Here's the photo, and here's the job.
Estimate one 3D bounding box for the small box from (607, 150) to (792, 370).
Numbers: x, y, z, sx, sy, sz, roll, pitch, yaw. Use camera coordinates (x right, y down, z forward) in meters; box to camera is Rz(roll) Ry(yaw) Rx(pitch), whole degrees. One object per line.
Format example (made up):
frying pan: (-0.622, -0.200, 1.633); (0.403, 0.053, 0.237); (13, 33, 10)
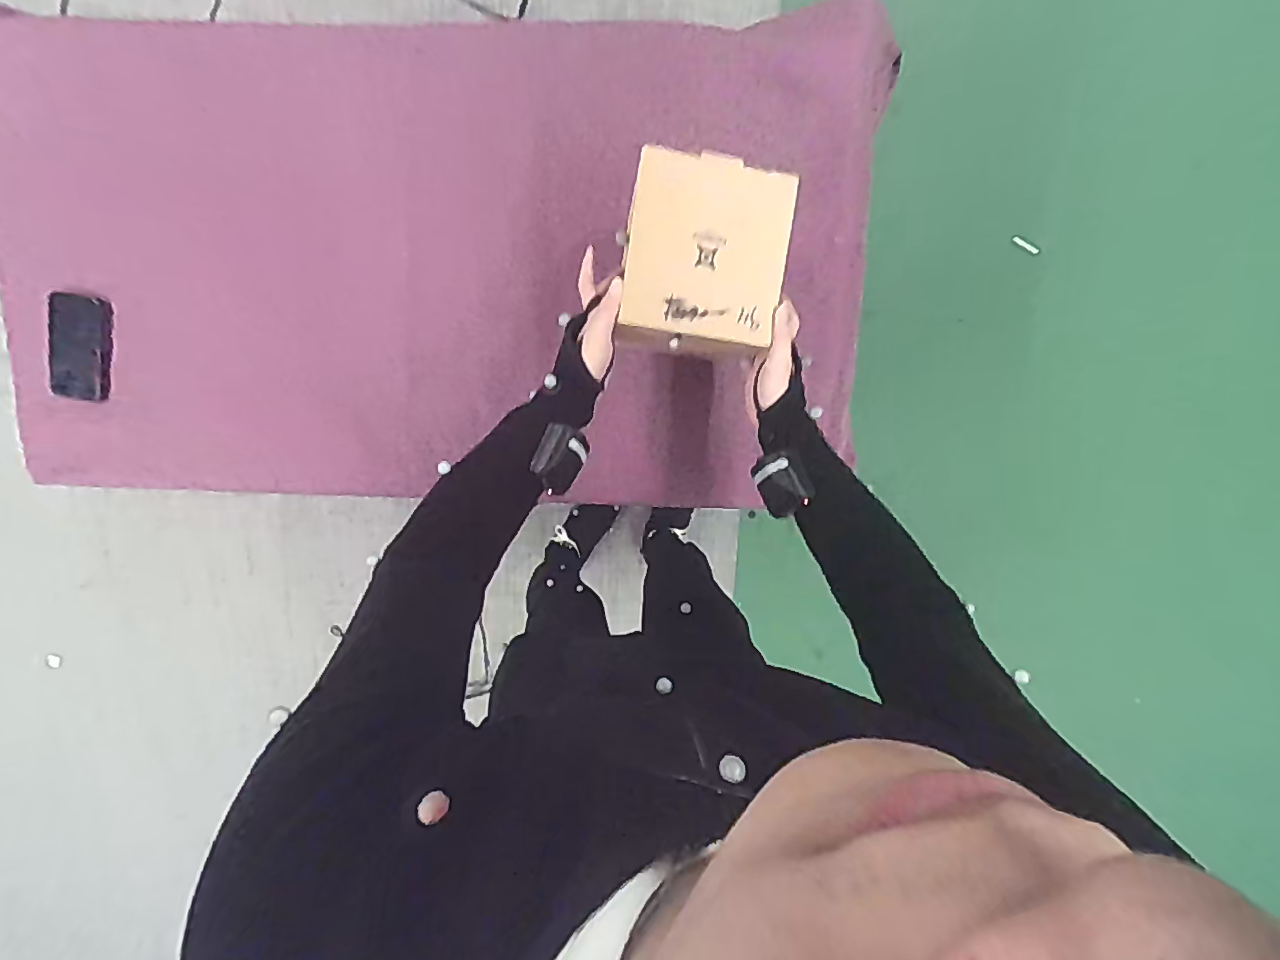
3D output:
small box: (0.055, -0.234, 0.622); (0.168, 0.176, 0.179); (8, 95, -6)
